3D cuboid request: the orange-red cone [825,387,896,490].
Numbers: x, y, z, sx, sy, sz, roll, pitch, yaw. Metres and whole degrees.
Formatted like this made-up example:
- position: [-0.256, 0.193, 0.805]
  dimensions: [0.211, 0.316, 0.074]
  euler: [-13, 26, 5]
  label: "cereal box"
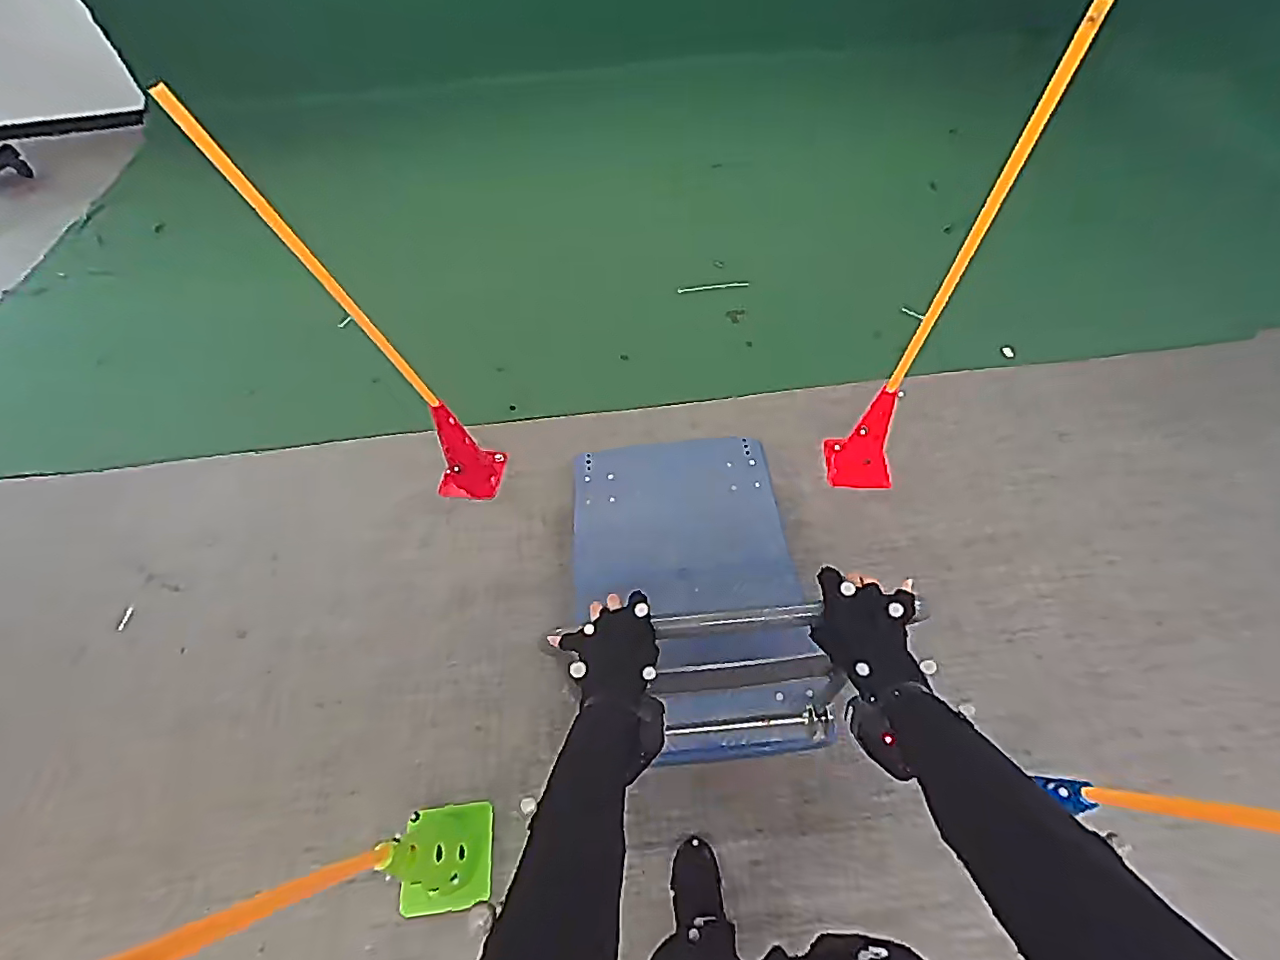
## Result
- position: [0.711, -0.146, 1.654]
  dimensions: [0.198, 0.360, 0.199]
  euler: [3, 56, 6]
  label: "orange-red cone"
